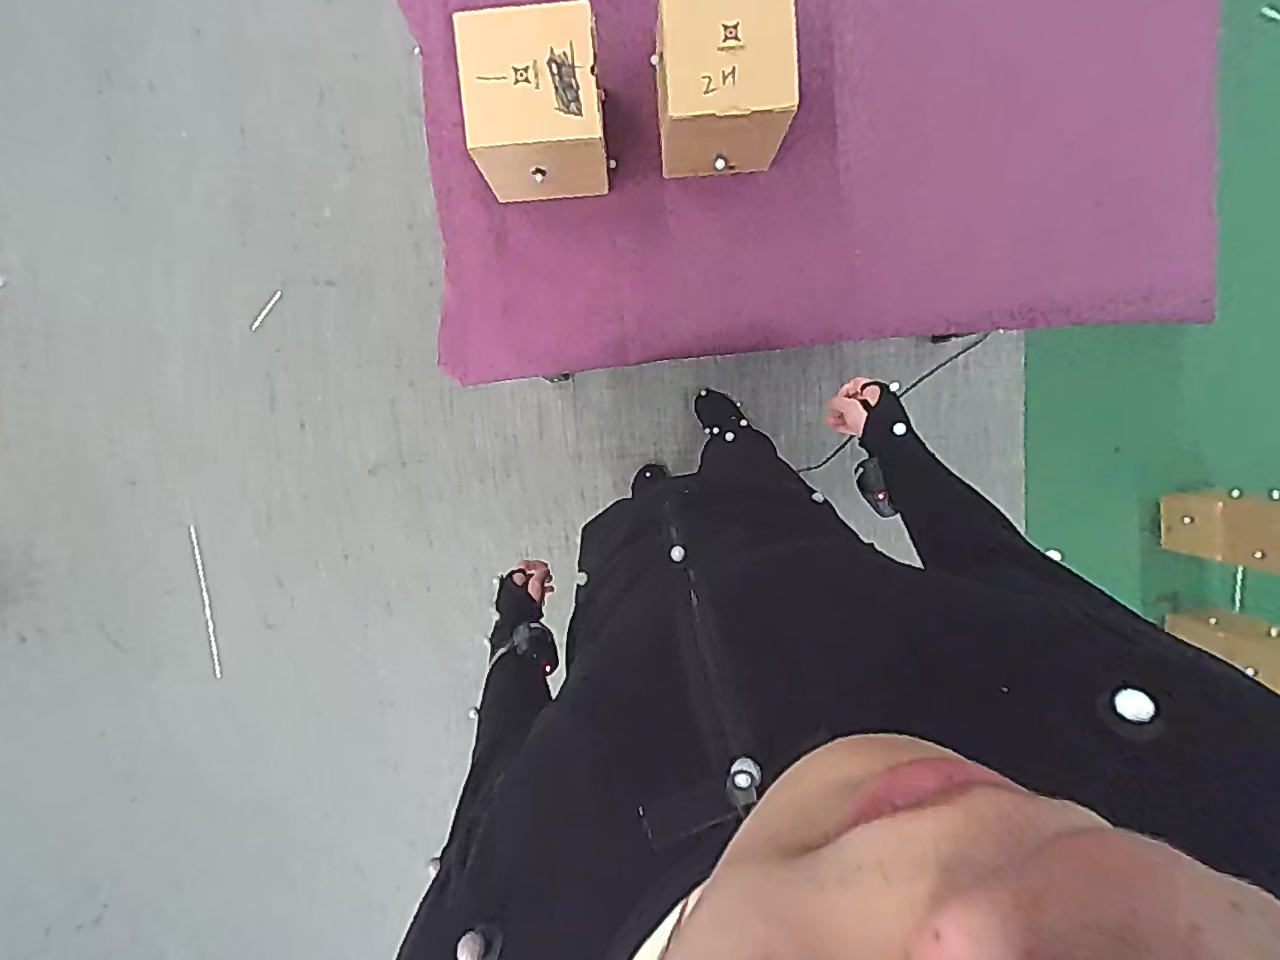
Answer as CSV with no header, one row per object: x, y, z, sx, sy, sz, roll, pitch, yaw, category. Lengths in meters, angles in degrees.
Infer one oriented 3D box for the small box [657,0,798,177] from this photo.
0.112,-0.555,0.753,0.168,0.176,0.179,-4,96,1,small box

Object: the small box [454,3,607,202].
-0.140,-0.512,0.757,0.179,0.176,0.168,-5,95,1,small box

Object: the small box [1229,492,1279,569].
1.679,0.131,1.386,0.168,0.176,0.179,-7,95,-1,small box

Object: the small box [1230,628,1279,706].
1.720,0.497,1.415,0.179,0.176,0.168,-2,96,2,small box

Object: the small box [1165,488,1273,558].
1.662,0.118,1.547,0.179,0.176,0.168,-7,95,-1,small box
